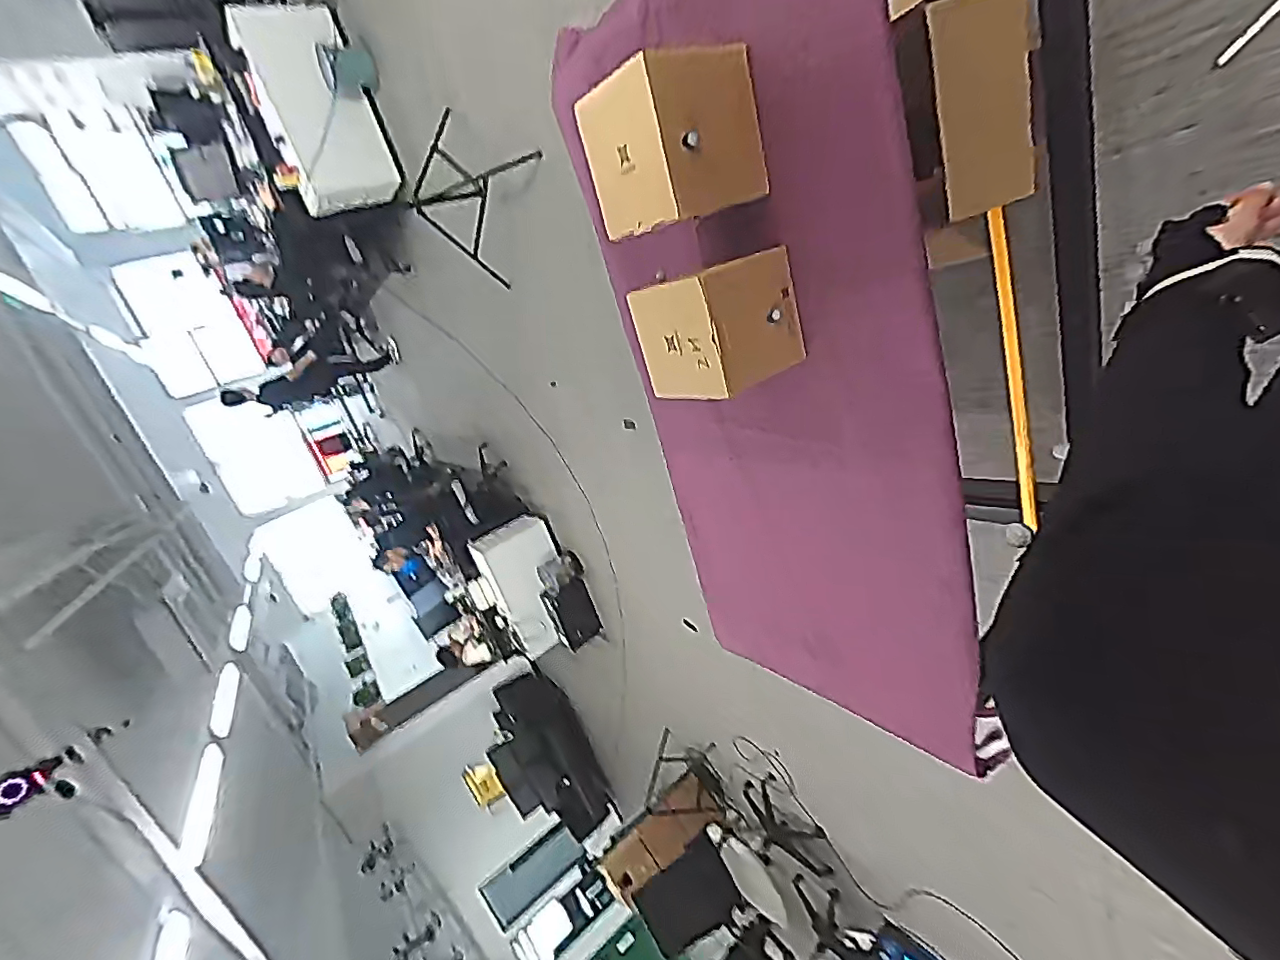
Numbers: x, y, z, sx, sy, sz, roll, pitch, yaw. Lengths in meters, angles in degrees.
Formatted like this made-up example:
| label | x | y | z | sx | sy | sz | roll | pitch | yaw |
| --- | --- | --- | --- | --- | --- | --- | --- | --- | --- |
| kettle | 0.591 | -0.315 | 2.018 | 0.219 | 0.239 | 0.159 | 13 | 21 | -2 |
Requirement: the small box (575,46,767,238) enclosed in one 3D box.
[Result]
| label | x | y | z | sx | sy | sz | roll | pitch | yaw |
| --- | --- | --- | --- | --- | --- | --- | --- | --- | --- |
| small box | 0.045 | -0.448 | 0.727 | 0.168 | 0.176 | 0.179 | 17 | 131 | 54 |

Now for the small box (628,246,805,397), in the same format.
| label | x | y | z | sx | sy | sz | roll | pitch | yaw |
| --- | --- | --- | --- | --- | --- | --- | --- | --- | --- |
| small box | 0.115 | -0.232 | 0.808 | 0.179 | 0.176 | 0.168 | 13 | 128 | 55 |
